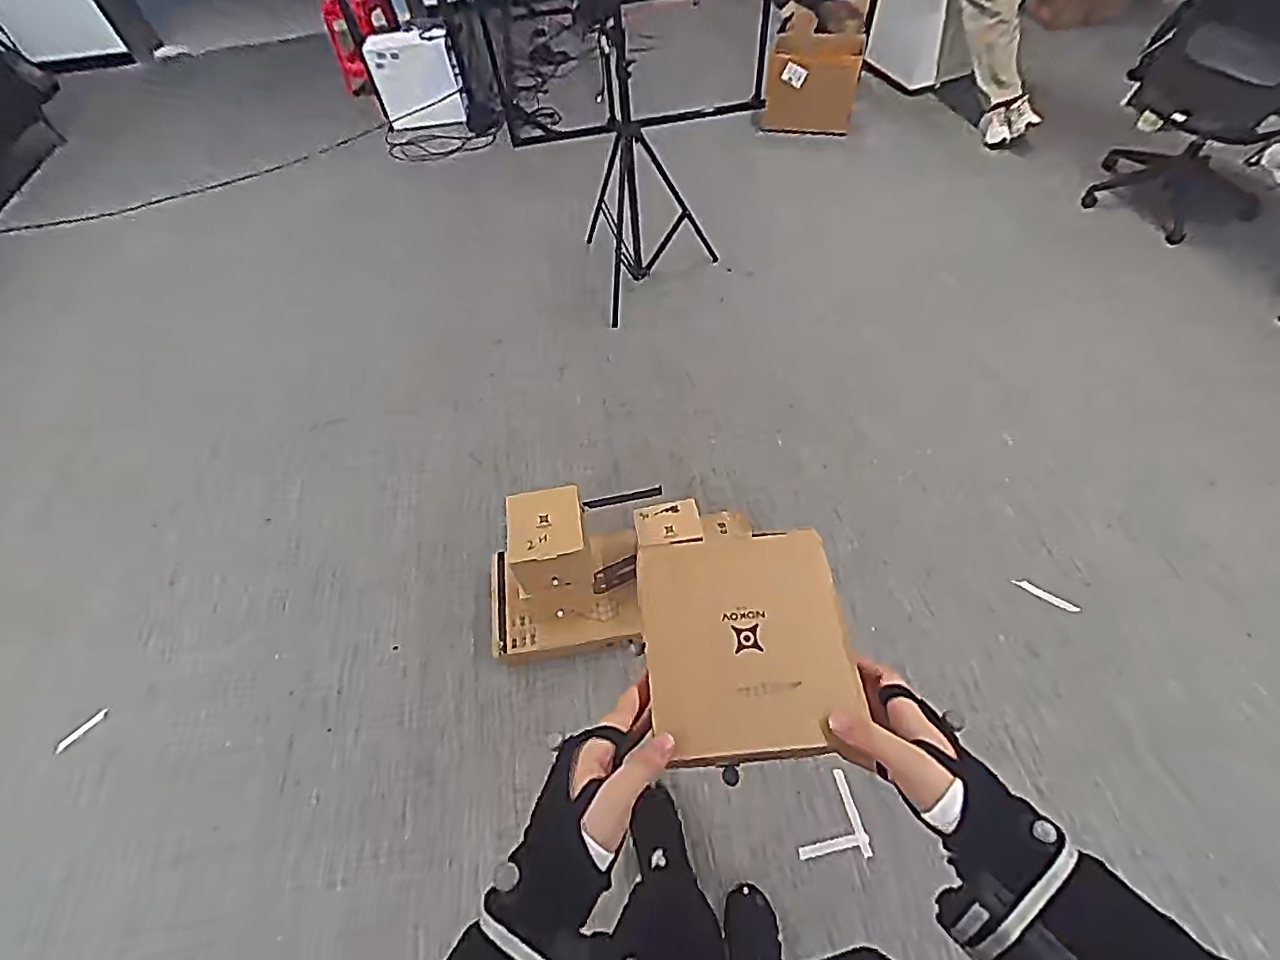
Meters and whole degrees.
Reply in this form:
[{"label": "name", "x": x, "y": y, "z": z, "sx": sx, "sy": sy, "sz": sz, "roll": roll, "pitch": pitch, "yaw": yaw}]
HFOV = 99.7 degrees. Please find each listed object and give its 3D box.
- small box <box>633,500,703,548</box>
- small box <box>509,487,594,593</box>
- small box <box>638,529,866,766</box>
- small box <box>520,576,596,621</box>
[{"label": "small box", "x": 0.083, "y": 0.180, "z": 1.416, "sx": 0.168, "sy": 0.176, "sz": 0.179, "roll": -11, "pitch": 57, "yaw": 0}, {"label": "small box", "x": -0.205, "y": 0.142, "z": 1.265, "sx": 0.168, "sy": 0.176, "sz": 0.179, "roll": -10, "pitch": 56, "yaw": -2}, {"label": "small box", "x": 0.085, "y": 0.165, "z": 0.518, "sx": 0.168, "sy": 0.176, "sz": 0.179, "roll": -5, "pitch": 60, "yaw": -1}, {"label": "small box", "x": -0.212, "y": 0.243, "z": 1.397, "sx": 0.168, "sy": 0.176, "sz": 0.179, "roll": -11, "pitch": 57, "yaw": -3}]
